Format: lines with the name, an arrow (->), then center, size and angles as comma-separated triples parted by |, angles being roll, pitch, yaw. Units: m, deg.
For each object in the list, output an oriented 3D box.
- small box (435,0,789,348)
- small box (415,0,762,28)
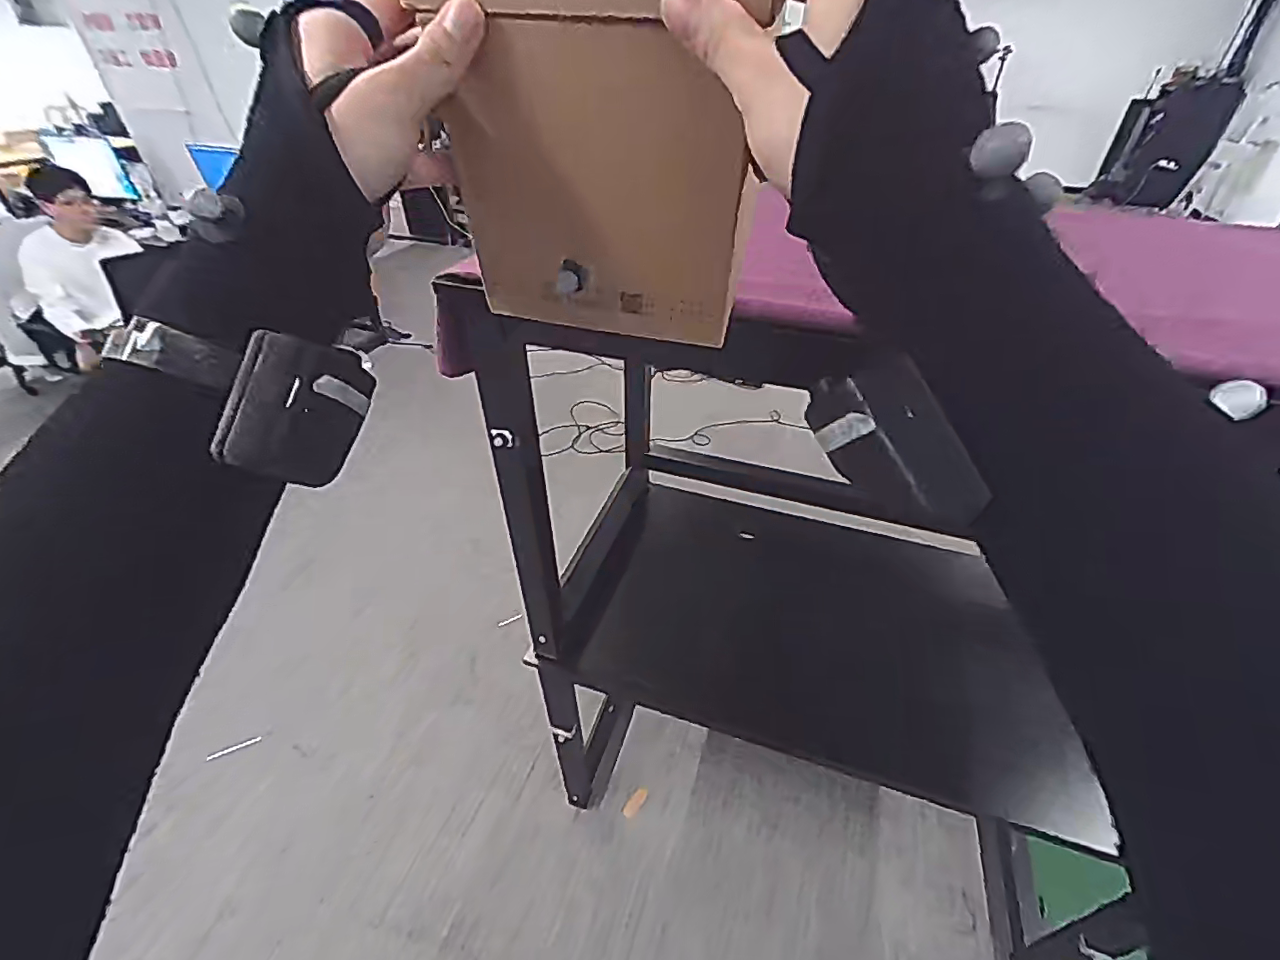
small box -> -0.005, -0.217, 0.365 | 0.168, 0.176, 0.179 | 11, 51, 9
small box -> -0.010, -0.318, 0.235 | 0.179, 0.176, 0.168 | 10, 50, 11
